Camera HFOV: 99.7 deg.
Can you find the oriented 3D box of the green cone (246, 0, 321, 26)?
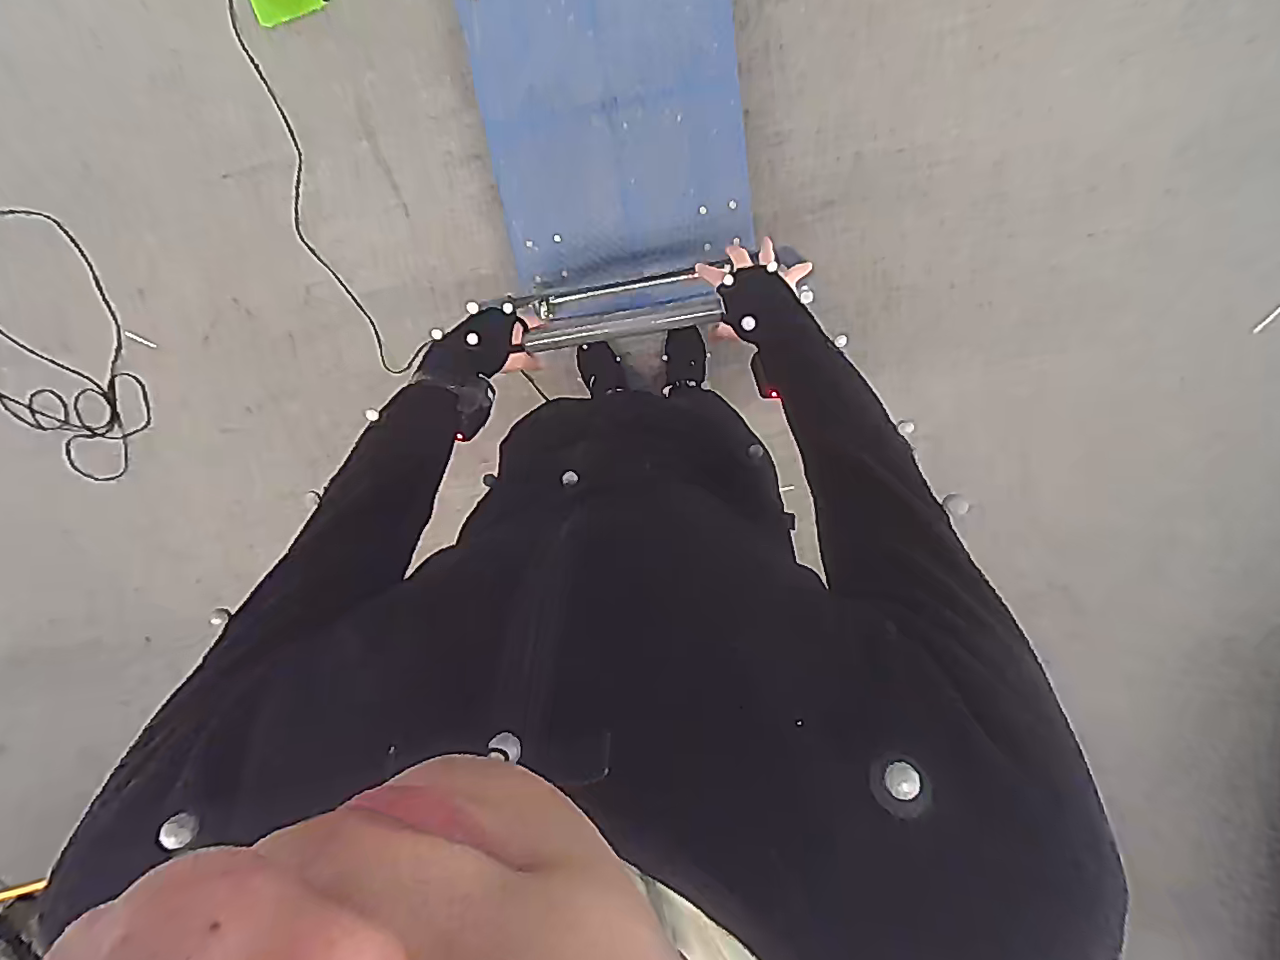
[{"bbox_3d":[-0.880,-1.165,1.119,0.202,0.368,0.200,-15,107,9],"label":"green cone"}]
